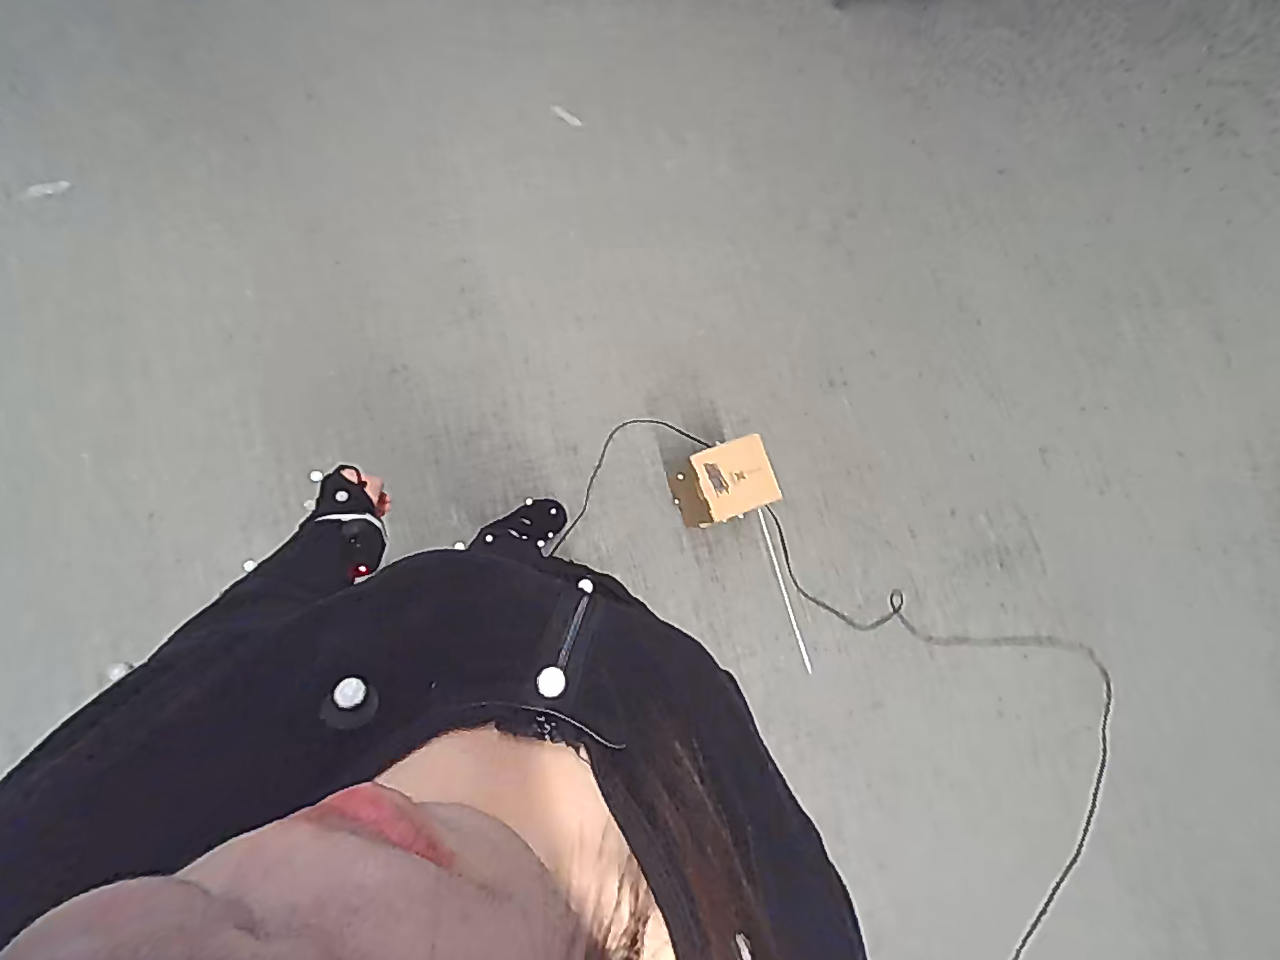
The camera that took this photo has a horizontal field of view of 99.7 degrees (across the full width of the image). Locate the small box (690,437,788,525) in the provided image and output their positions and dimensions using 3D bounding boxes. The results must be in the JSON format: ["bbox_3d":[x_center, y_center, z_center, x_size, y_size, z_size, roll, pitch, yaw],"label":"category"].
[{"bbox_3d":[0.230,0.009,1.327,0.179,0.176,0.168,-19,86,-8],"label":"small box"}]
